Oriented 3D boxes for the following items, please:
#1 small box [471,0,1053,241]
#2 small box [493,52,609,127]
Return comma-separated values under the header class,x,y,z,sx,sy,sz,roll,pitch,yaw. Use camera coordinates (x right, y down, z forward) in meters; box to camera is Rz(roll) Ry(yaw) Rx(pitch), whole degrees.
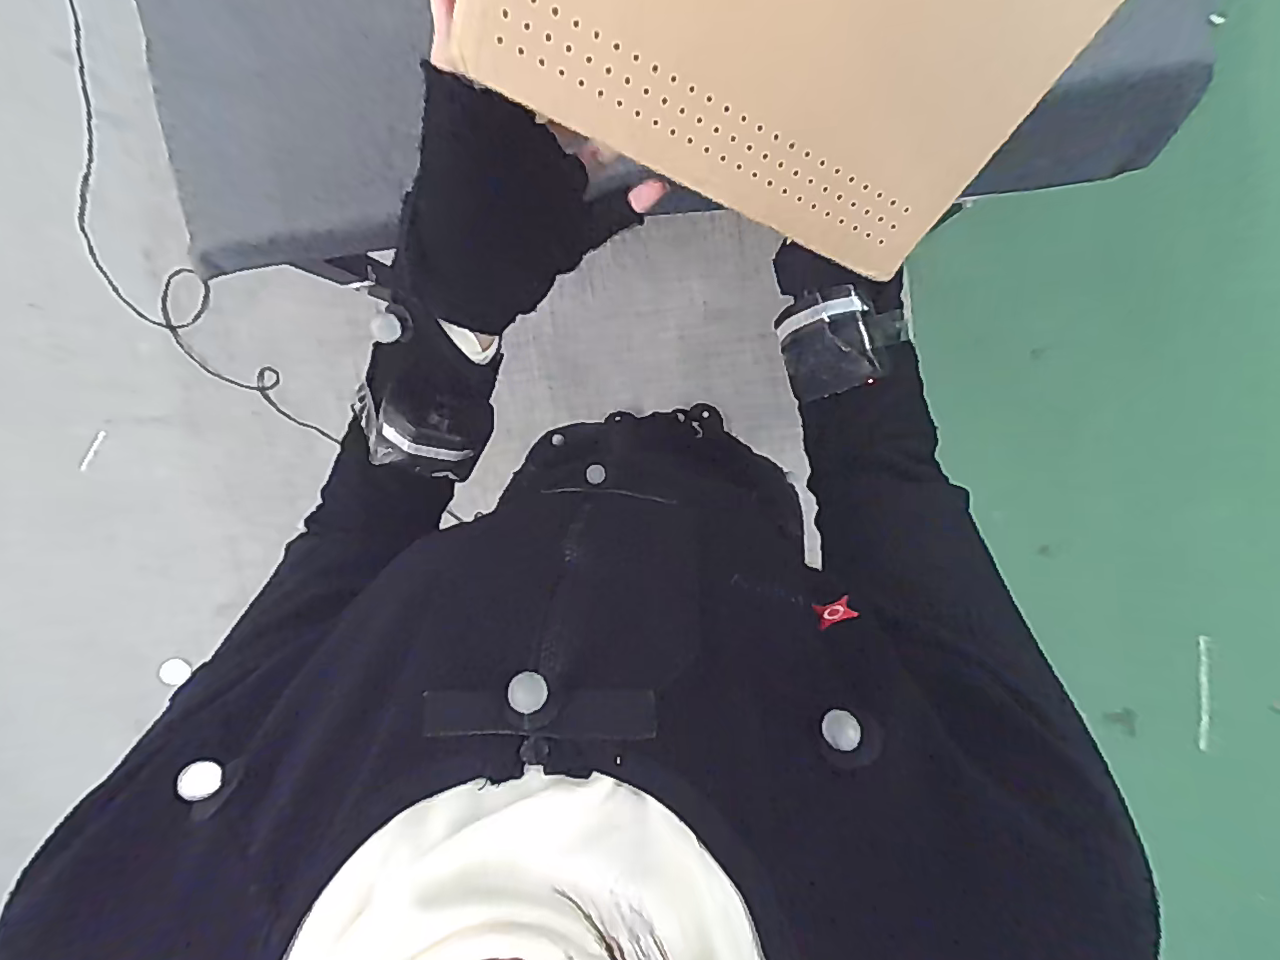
class,x,y,z,sx,sy,sz,roll,pitch,yaw
small box,0.051,-0.221,0.195,0.179,0.168,0.176,17,136,-19
small box,-0.064,-0.496,0.557,0.179,0.176,0.168,-4,96,4
